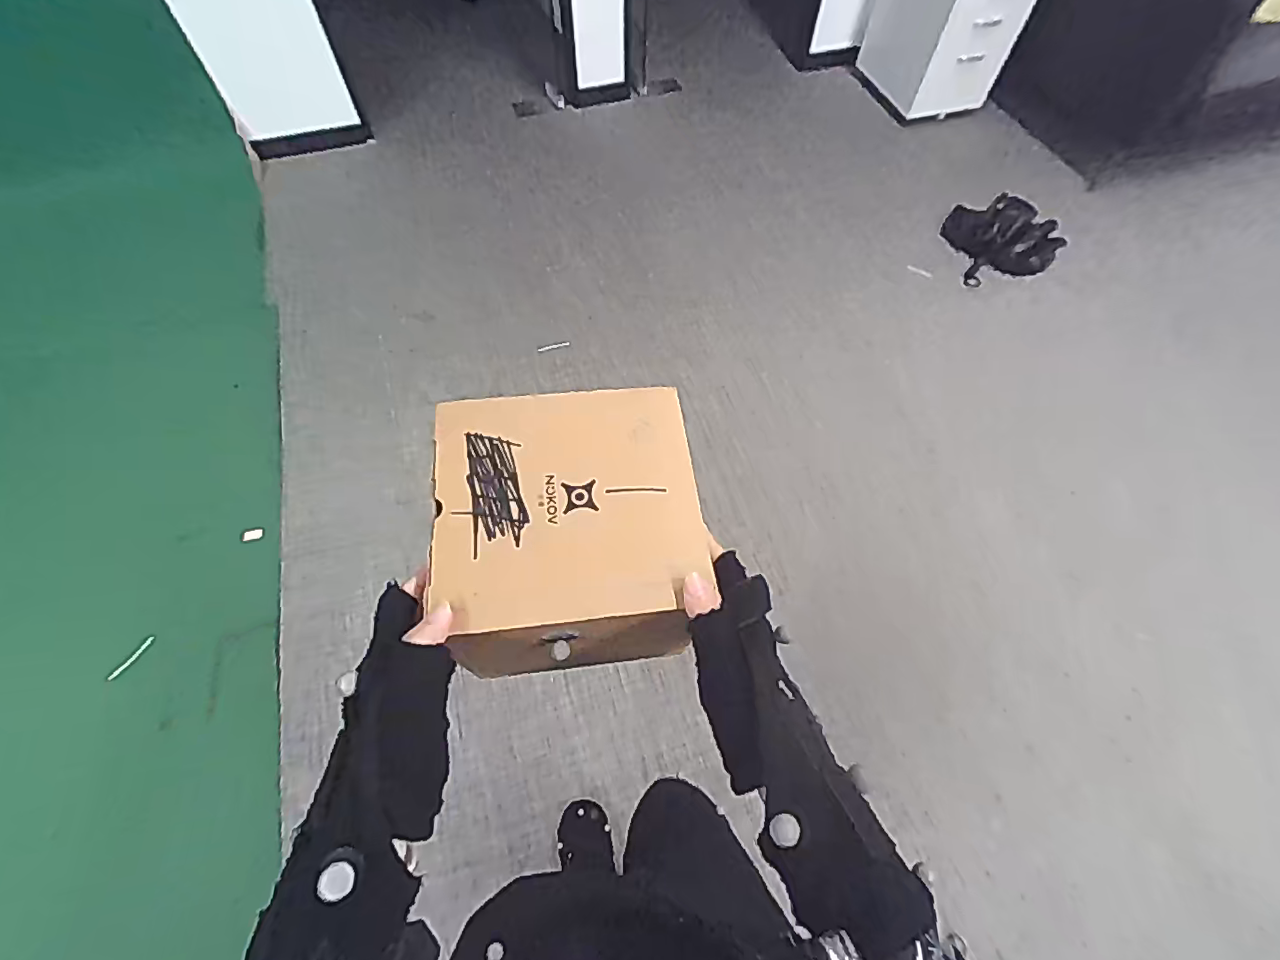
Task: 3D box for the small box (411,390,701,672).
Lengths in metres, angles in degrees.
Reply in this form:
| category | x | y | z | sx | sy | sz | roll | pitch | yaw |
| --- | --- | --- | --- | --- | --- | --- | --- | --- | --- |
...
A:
| category | x | y | z | sx | sy | sz | roll | pitch | yaw |
| --- | --- | --- | --- | --- | --- | --- | --- | --- | --- |
| small box | -0.060 | 0.049 | 0.428 | 0.179 | 0.176 | 0.168 | -5 | 63 | -6 |
